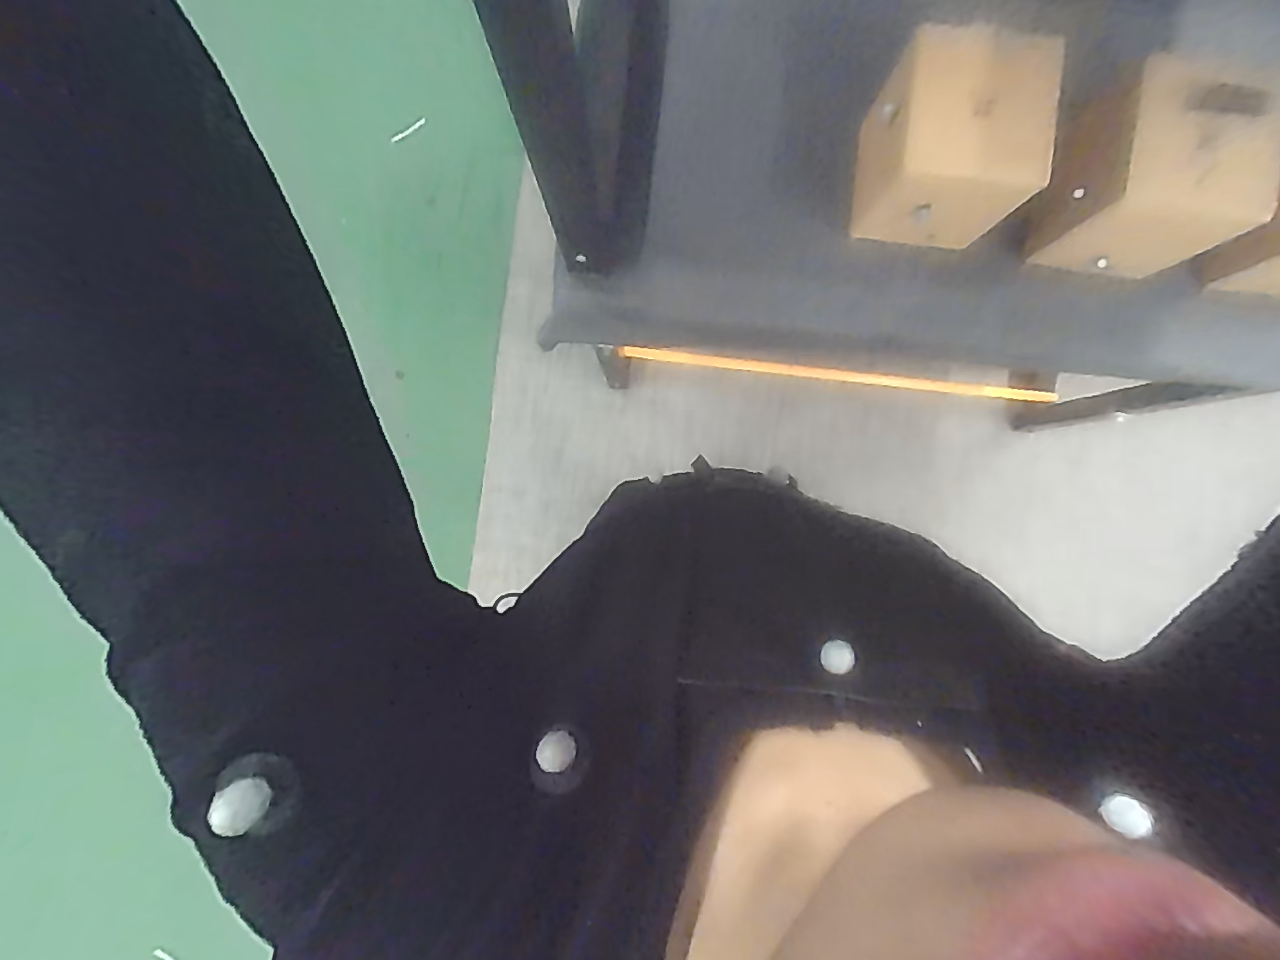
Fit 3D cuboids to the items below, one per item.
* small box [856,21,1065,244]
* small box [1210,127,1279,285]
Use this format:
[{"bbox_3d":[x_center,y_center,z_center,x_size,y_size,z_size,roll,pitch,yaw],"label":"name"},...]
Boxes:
[{"bbox_3d":[0.394,-0.429,0.695,0.168,0.176,0.179,7,88,1],"label":"small box"},{"bbox_3d":[0.881,-0.356,0.678,0.168,0.176,0.179,6,87,1],"label":"small box"}]
